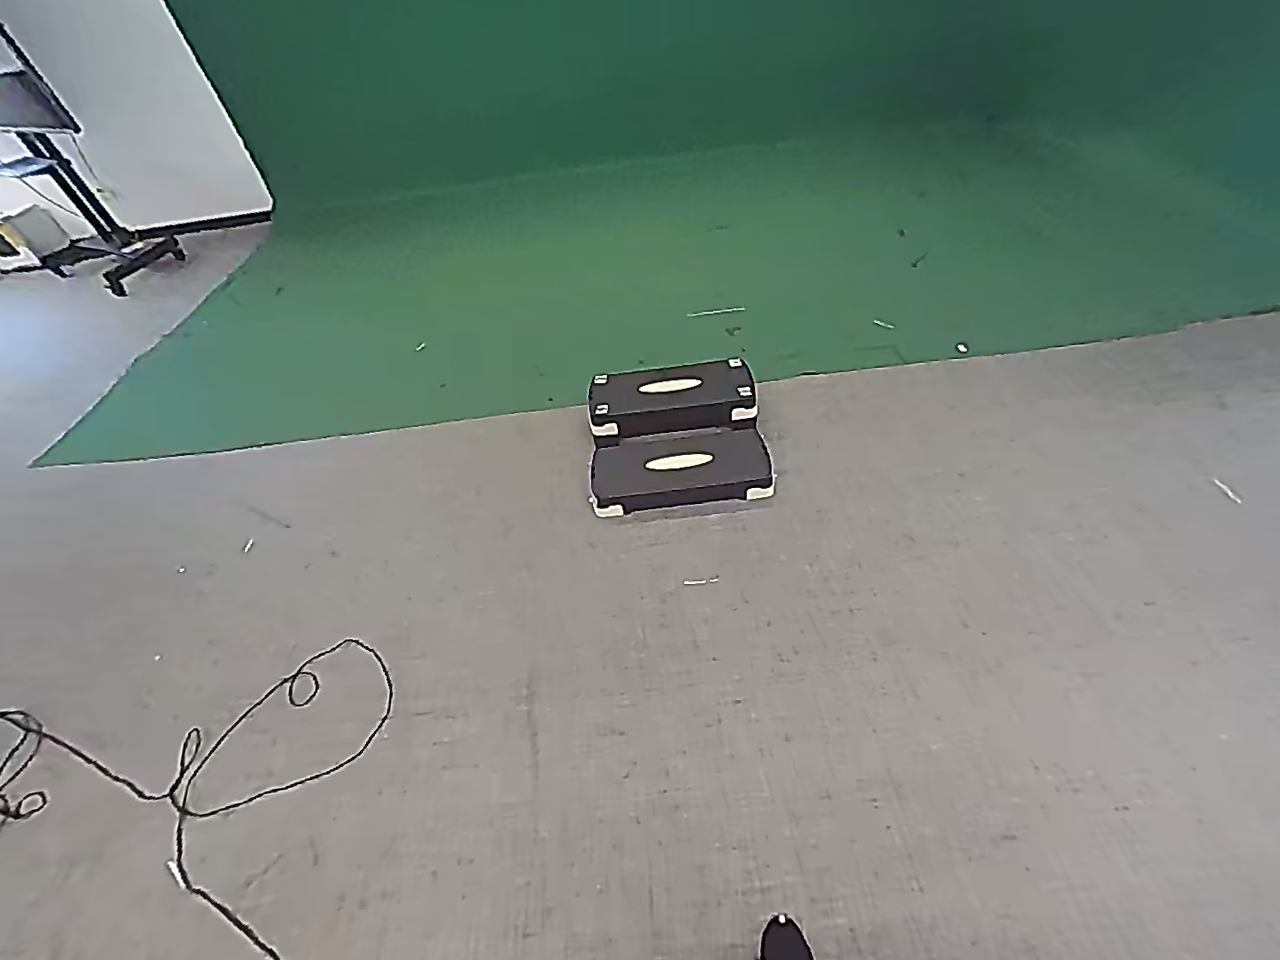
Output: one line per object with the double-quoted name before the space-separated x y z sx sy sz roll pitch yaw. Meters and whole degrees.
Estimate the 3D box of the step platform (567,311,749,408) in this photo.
"step platform" 0.072 -0.469 2.105 0.684 0.204 0.286 -7 46 2
